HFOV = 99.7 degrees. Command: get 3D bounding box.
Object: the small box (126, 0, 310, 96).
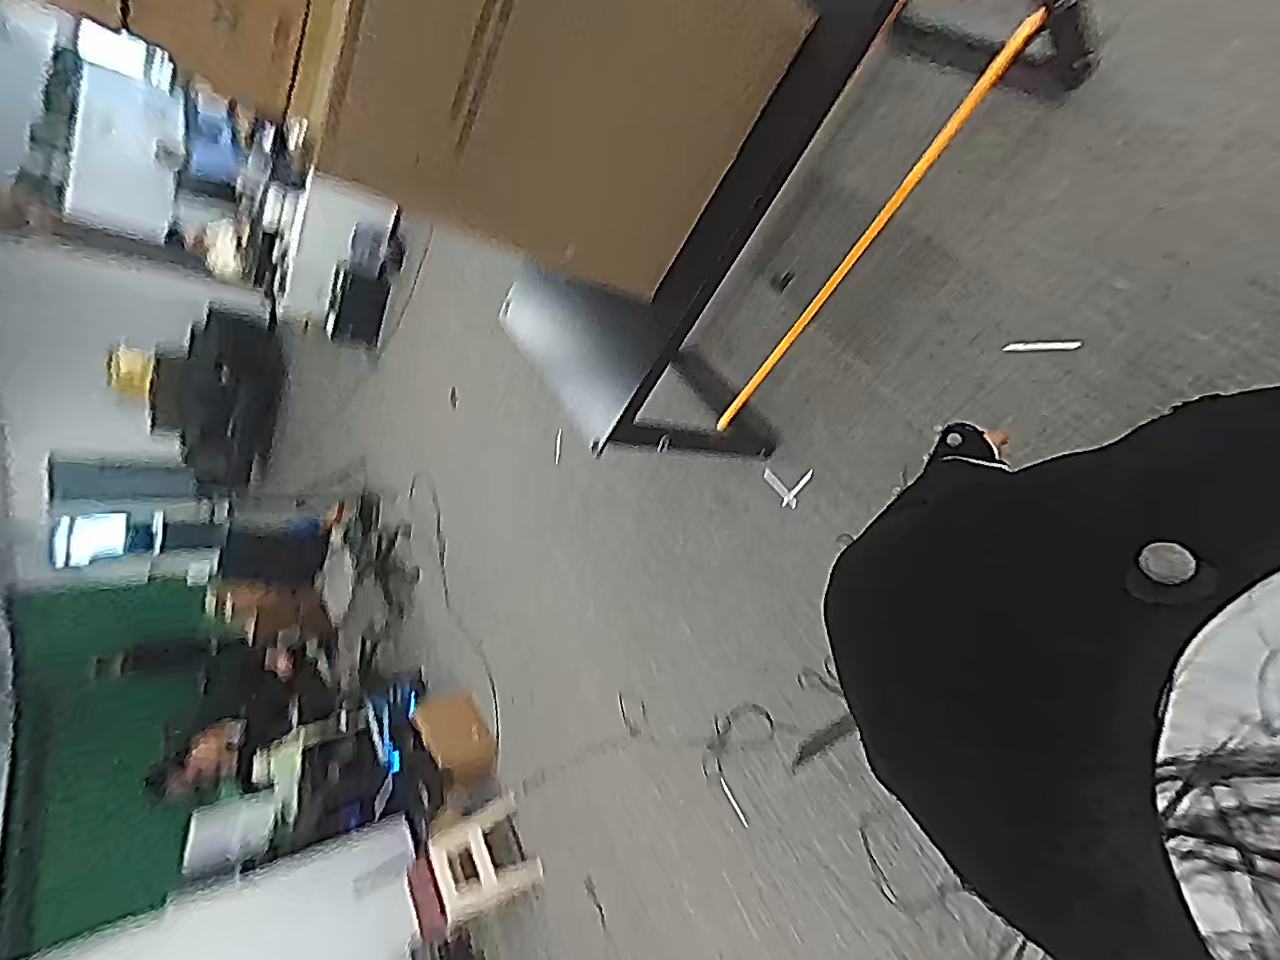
[{"bbox_3d":[-0.544,-0.641,0.699,0.168,0.176,0.179,-54,54,28],"label":"small box"}]
